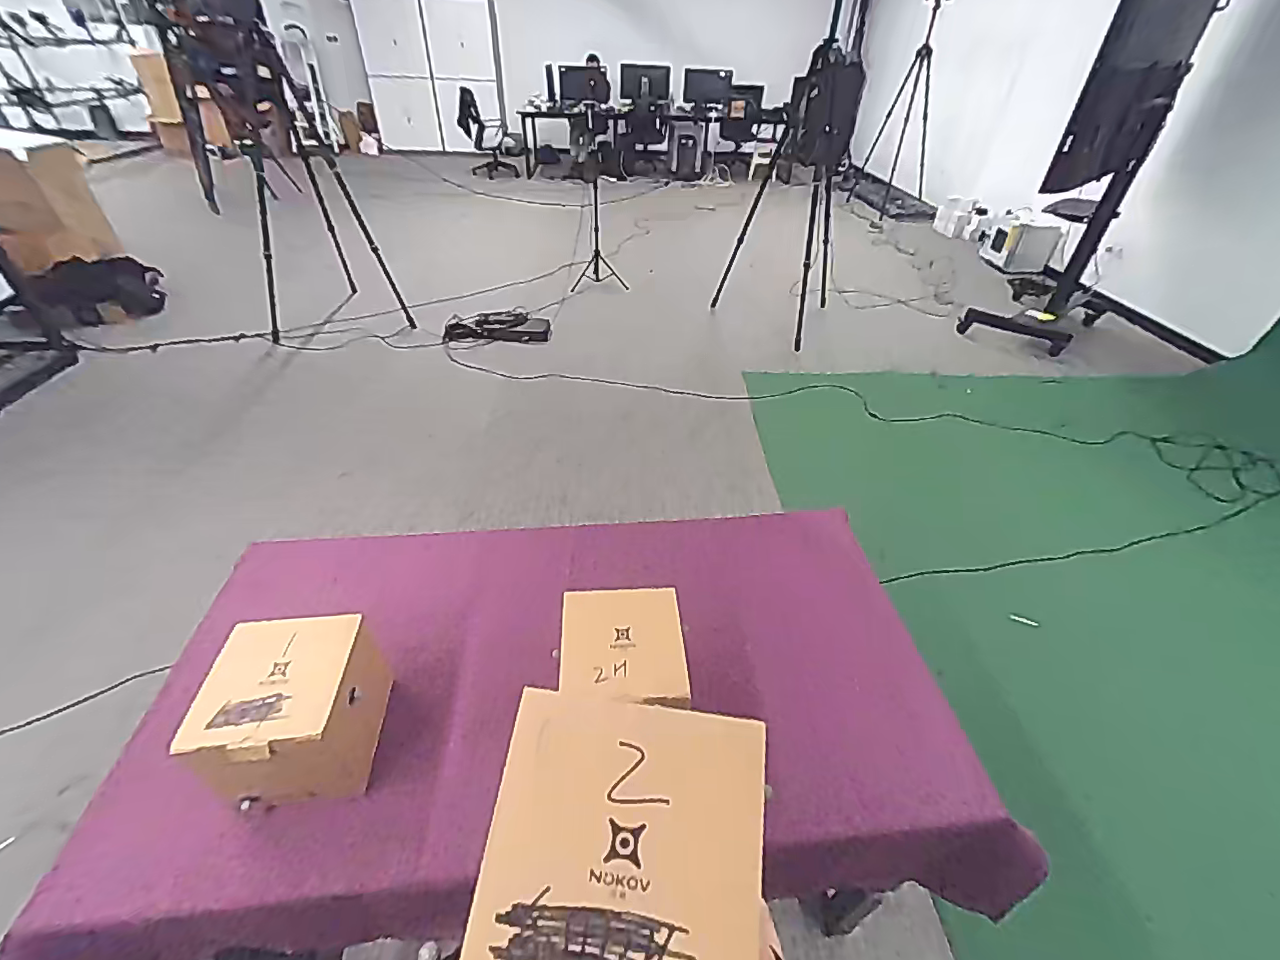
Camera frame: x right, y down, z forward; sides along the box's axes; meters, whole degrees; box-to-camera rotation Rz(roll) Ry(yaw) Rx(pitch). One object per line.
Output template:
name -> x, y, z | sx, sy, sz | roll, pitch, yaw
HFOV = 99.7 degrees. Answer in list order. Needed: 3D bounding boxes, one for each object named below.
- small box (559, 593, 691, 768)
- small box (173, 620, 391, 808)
small box -> -0.024, 0.285, 0.776 | 0.168, 0.176, 0.179 | -2, 39, -3
small box -> -0.454, 0.315, 0.725 | 0.168, 0.176, 0.179 | -3, 38, -6
